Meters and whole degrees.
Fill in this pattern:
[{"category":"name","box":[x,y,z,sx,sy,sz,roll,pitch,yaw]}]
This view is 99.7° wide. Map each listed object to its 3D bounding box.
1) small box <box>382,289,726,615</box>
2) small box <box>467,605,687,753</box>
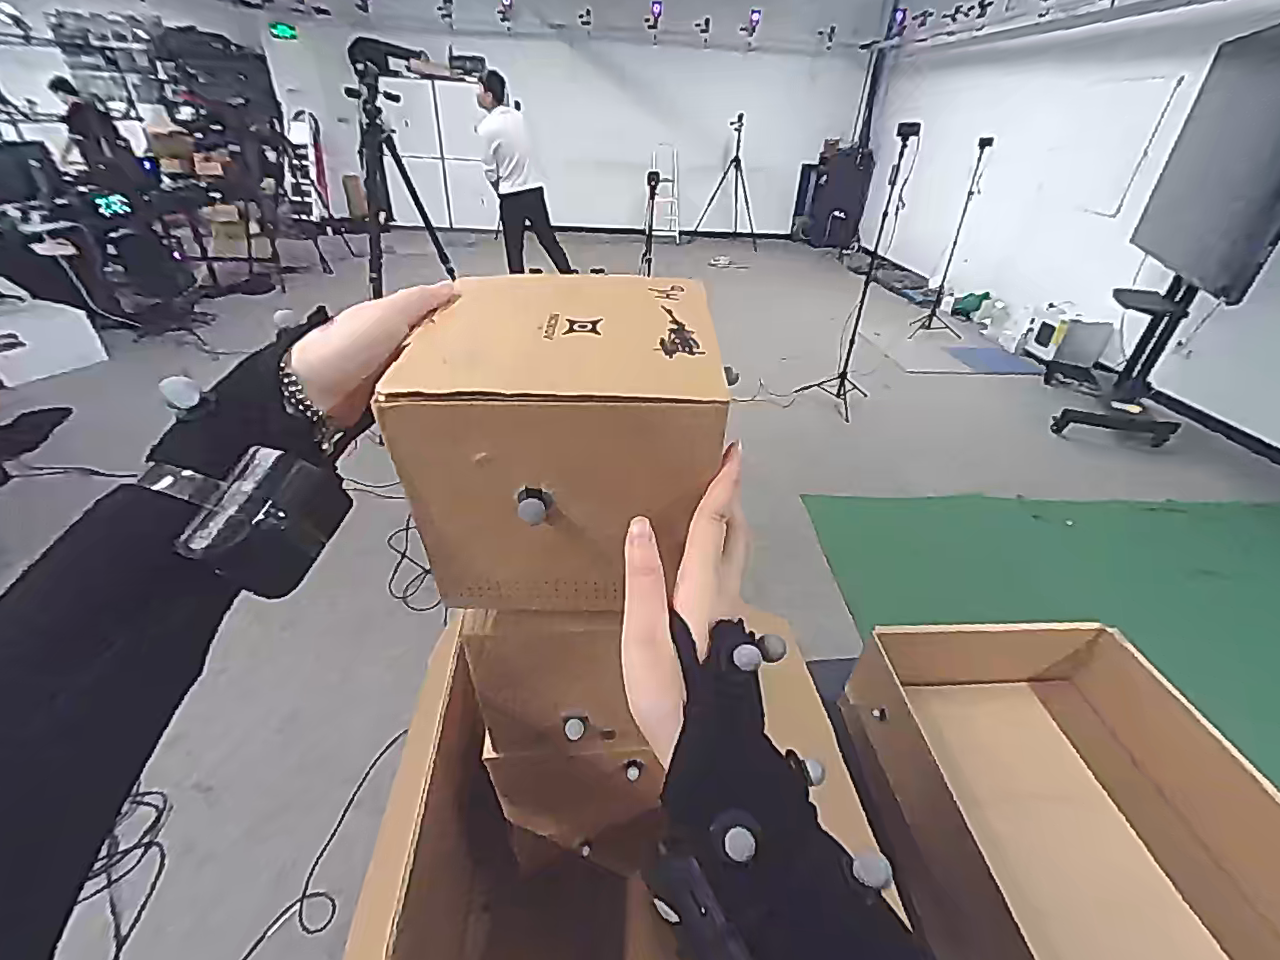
[{"category":"small box","box":[-0.042,-0.021,0.378,0.179,0.176,0.168,1,41,0]},{"category":"small box","box":[-0.053,0.129,0.510,0.168,0.176,0.179,-1,37,-3]}]
